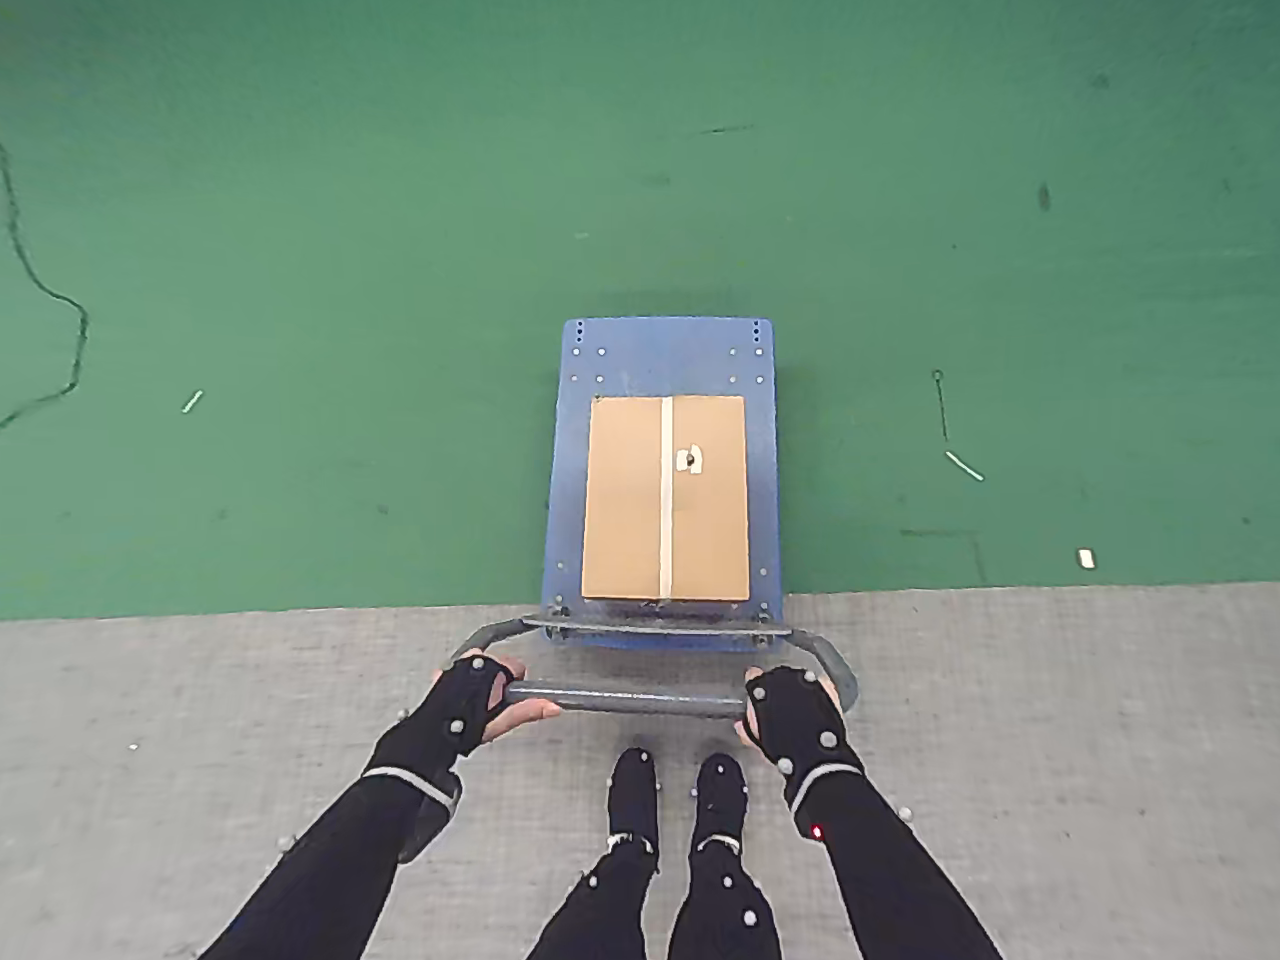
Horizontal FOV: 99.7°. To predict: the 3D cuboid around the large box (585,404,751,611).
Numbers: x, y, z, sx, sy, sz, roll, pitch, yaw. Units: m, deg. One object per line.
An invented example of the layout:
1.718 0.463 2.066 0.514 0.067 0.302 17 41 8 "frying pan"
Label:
0.064 0.078 1.194 0.320 0.320 0.408 1 74 4 "large box"
